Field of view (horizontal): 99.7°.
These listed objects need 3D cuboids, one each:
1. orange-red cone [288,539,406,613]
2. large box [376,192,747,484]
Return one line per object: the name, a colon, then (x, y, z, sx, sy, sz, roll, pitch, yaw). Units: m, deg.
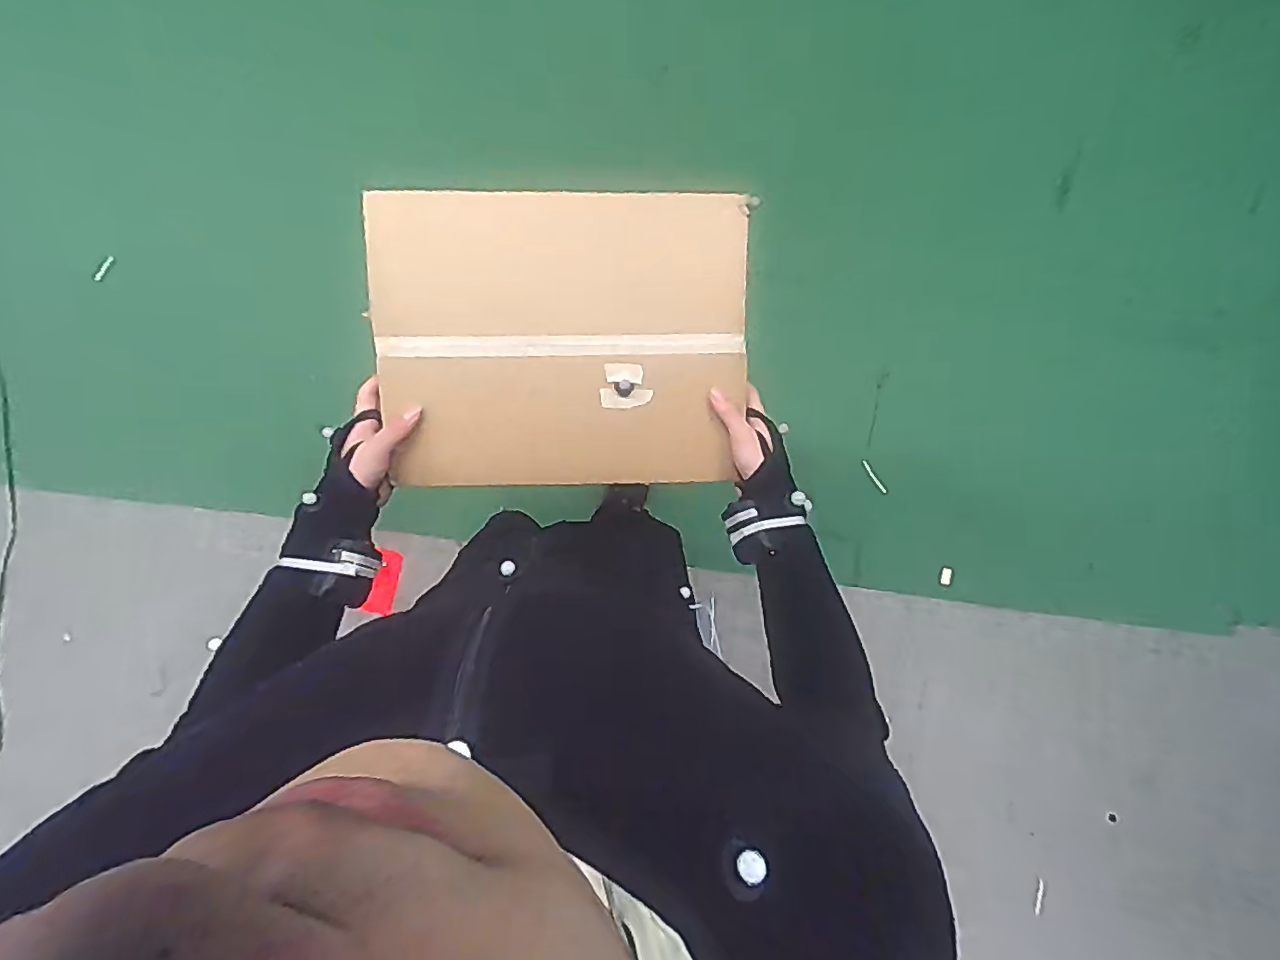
orange-red cone: (-0.824, 0.291, 1.464, 0.199, 0.360, 0.198, 15, 90, 1)
large box: (-0.087, -0.179, 0.750, 0.408, 0.320, 0.320, -2, 100, -3)
